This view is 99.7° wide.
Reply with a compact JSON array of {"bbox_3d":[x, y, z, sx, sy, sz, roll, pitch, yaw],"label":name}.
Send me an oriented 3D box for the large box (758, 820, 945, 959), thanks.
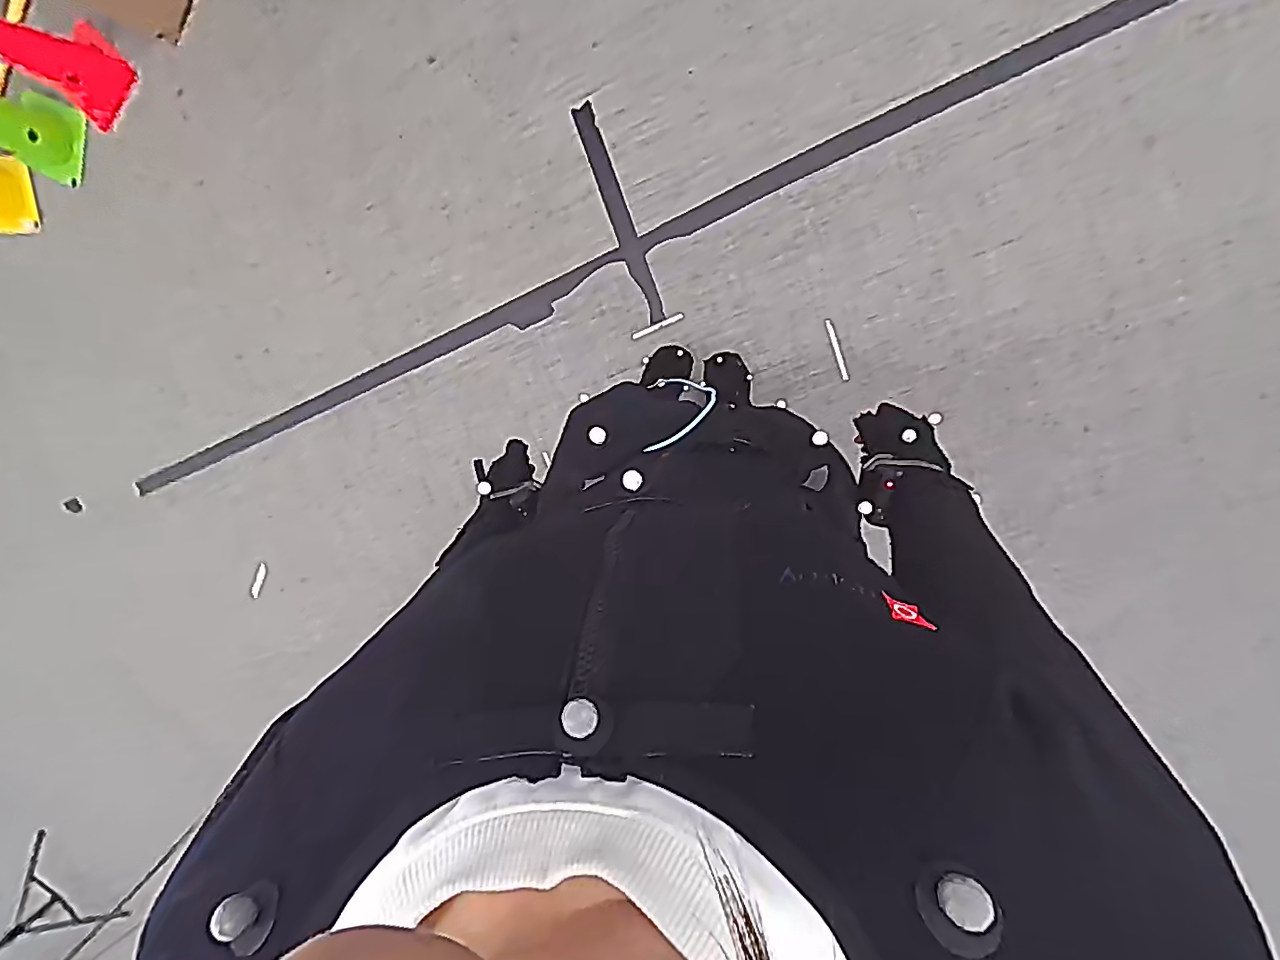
[{"bbox_3d":[0.591,1.262,1.535,0.408,0.320,0.320,-28,99,13],"label":"large box"}]
